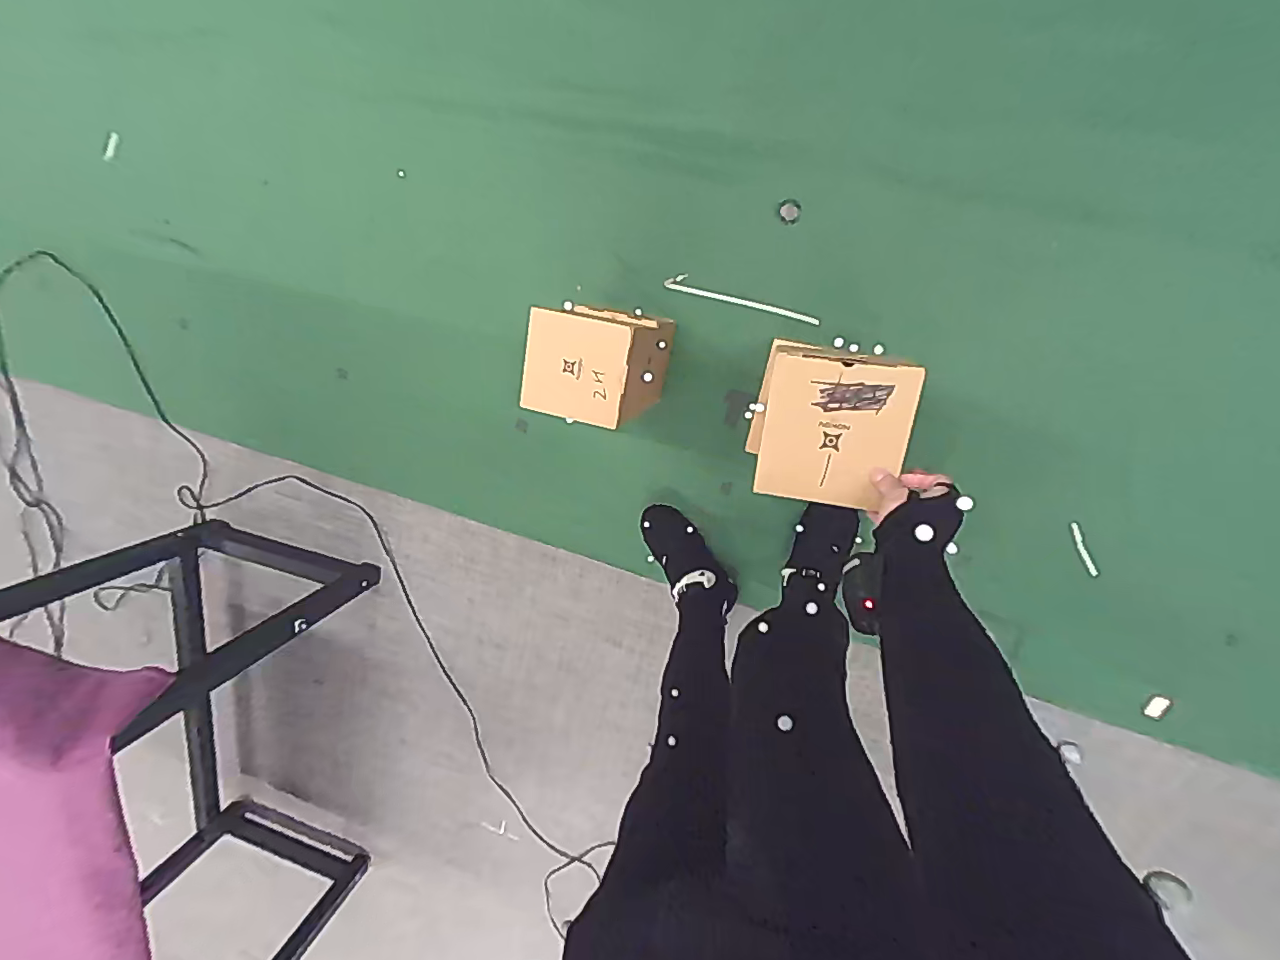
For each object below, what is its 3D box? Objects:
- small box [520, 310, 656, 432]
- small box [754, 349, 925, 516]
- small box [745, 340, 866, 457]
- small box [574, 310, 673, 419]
[{"bbox_3d":[-0.085,-0.192,0.939,0.179,0.176,0.168,14,108,11],"label":"small box"},{"bbox_3d":[0.247,-0.073,0.708,0.168,0.176,0.179,10,109,12],"label":"small box"},{"bbox_3d":[0.274,-0.120,0.863,0.168,0.176,0.179,15,108,11],"label":"small box"},{"bbox_3d":[-0.040,-0.236,1.092,0.168,0.176,0.179,15,107,11],"label":"small box"}]
